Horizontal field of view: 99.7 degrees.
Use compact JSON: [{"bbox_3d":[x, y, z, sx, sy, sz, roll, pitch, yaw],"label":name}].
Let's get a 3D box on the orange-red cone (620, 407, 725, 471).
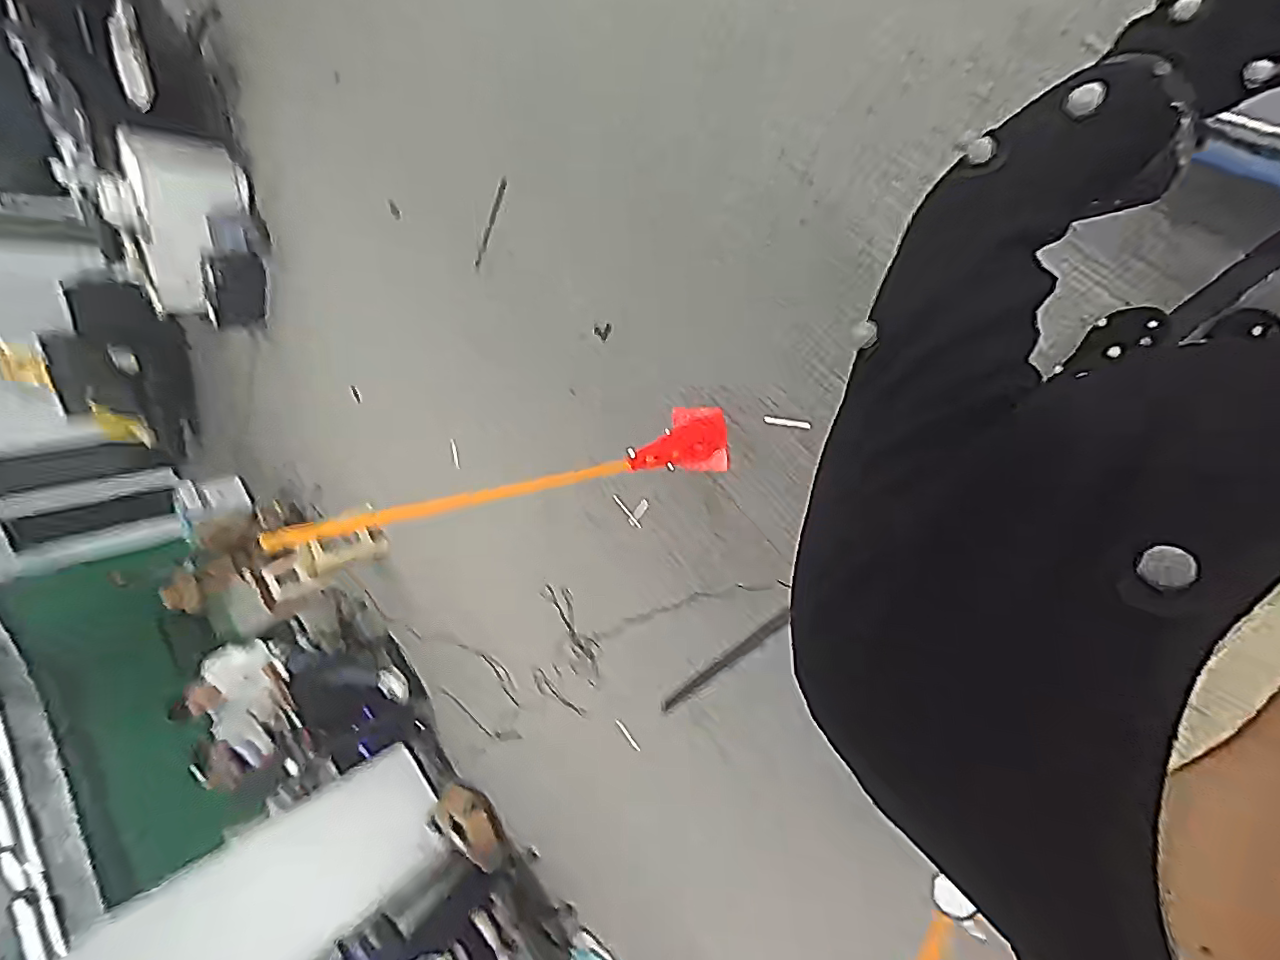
[{"bbox_3d":[0.073,-0.090,1.597,0.199,0.360,0.198,6,109,40],"label":"orange-red cone"}]
